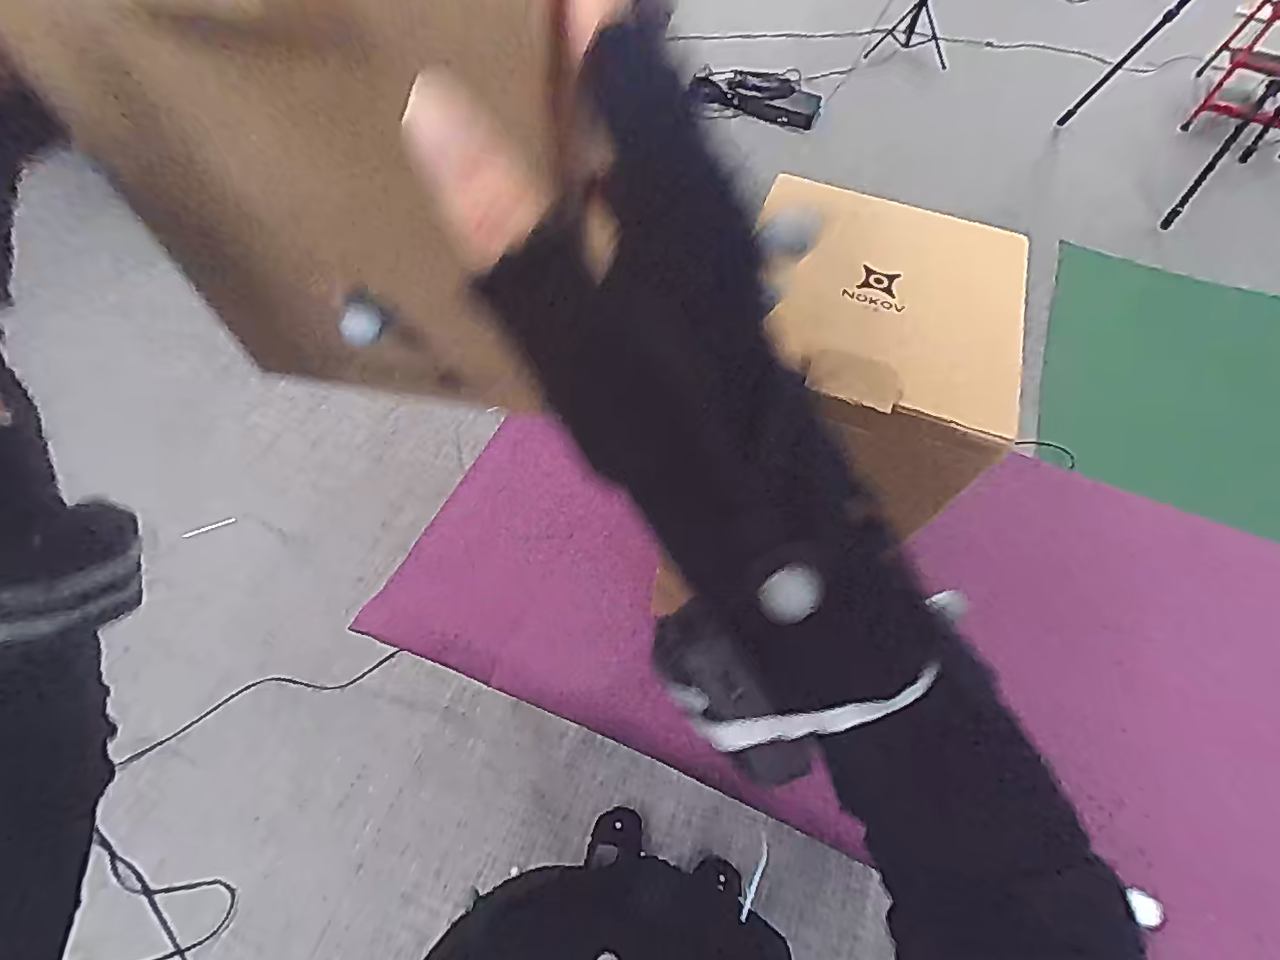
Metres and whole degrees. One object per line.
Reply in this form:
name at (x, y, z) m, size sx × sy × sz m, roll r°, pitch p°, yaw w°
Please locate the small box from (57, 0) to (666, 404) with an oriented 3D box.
small box at (-0.083, -0.162, 0.240) m, size 0.168 × 0.176 × 0.179 m, roll 9°, pitch 58°, yaw 4°
